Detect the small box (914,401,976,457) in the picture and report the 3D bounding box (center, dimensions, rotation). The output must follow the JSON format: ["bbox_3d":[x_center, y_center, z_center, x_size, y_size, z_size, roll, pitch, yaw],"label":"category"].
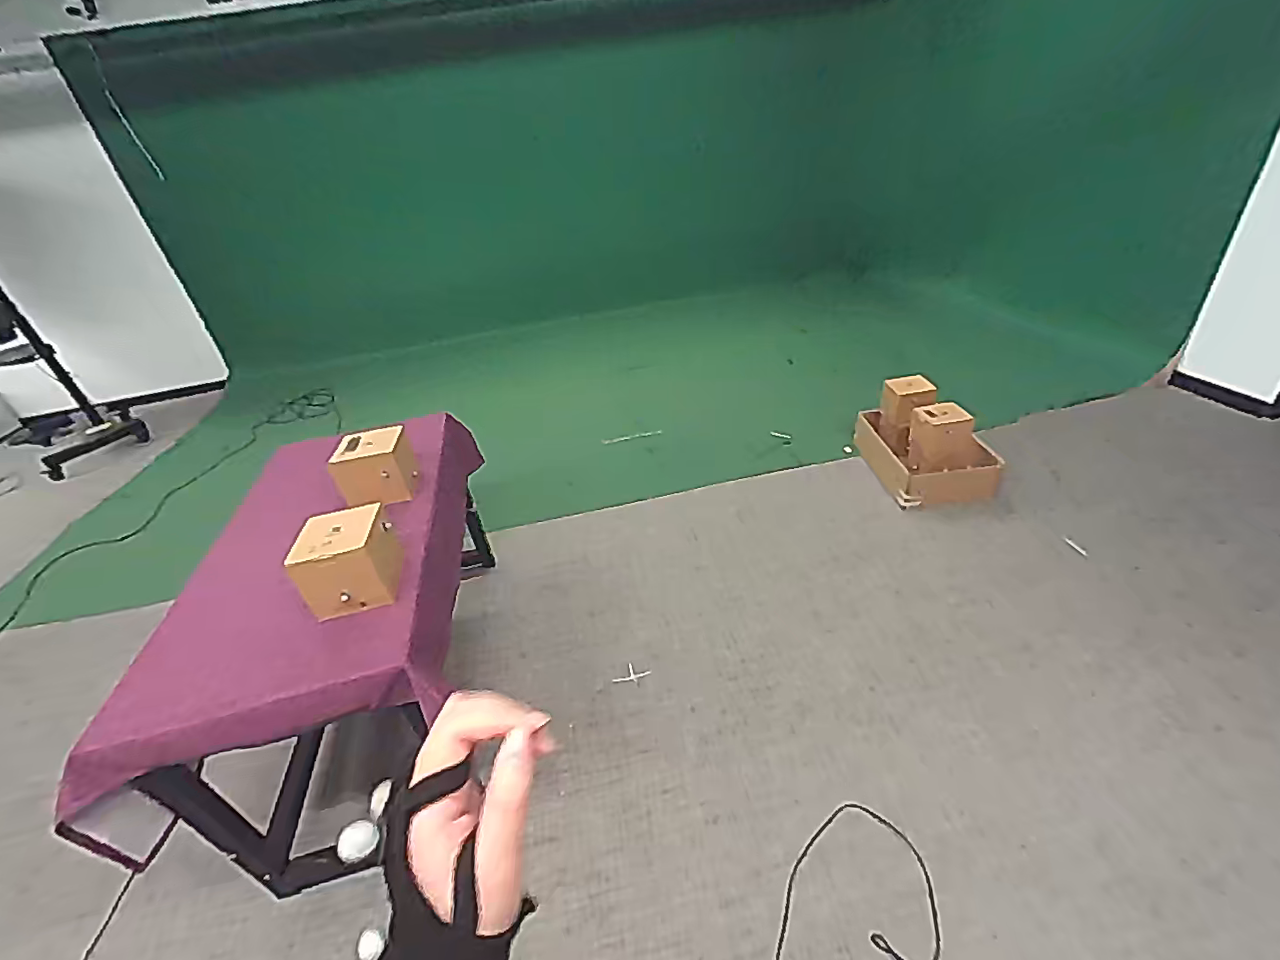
[{"bbox_3d":[1.286,-0.213,2.295,0.179,0.176,0.168,-9,32,1],"label":"small box"}]

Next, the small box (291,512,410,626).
[{"bbox_3d":[-0.647,0.202,1.236,0.168,0.176,0.179,-14,33,-4],"label":"small box"}]

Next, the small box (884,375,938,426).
[{"bbox_3d":[1.275,-0.376,2.556,0.179,0.176,0.168,-10,33,4],"label":"small box"}]
